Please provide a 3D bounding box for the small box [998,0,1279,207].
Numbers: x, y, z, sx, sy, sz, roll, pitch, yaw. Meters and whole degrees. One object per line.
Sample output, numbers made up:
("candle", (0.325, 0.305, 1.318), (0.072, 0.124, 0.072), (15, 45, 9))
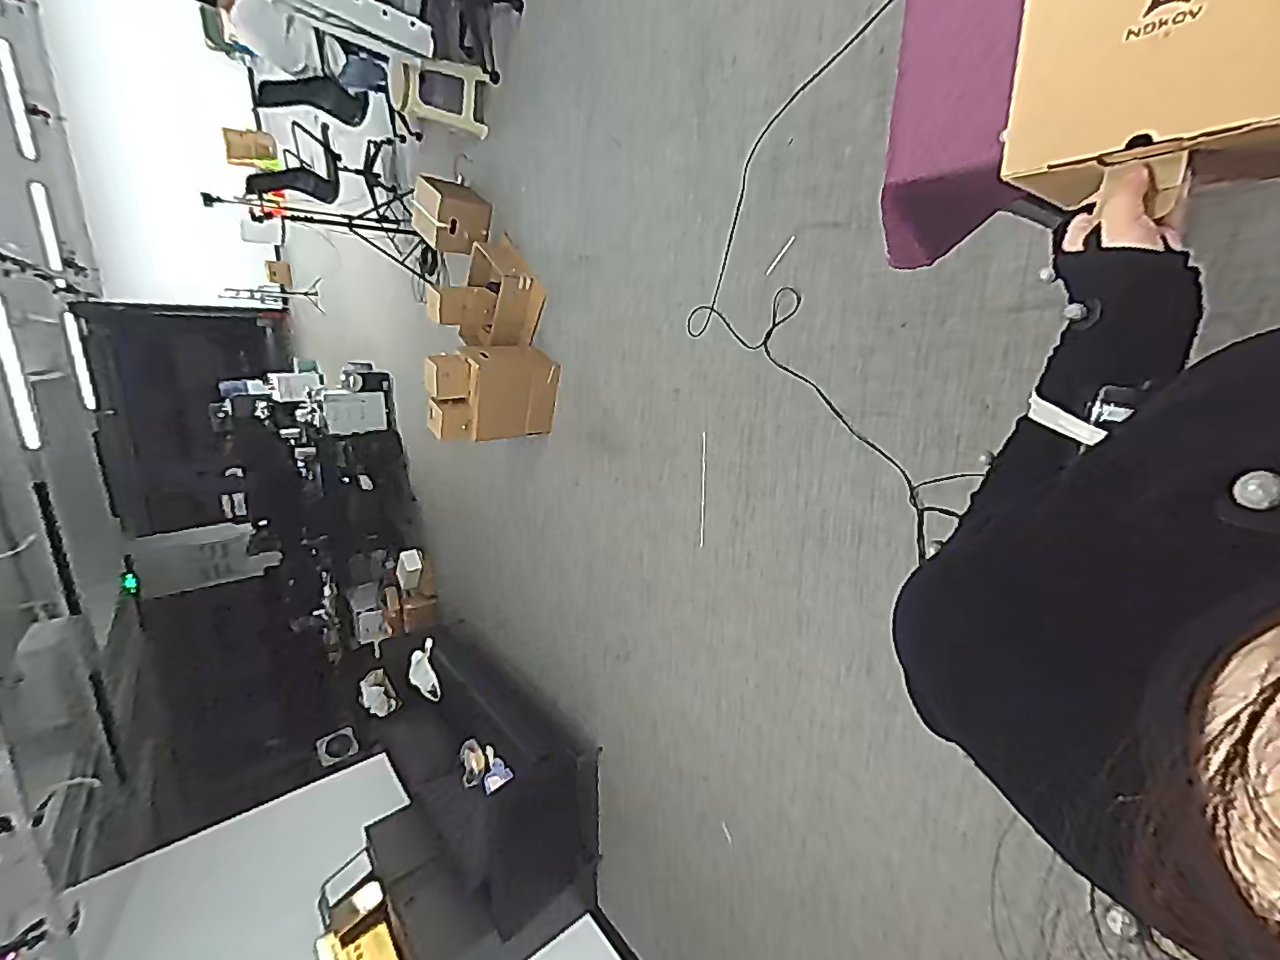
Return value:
("small box", (0.406, -0.326, 0.409), (0.168, 0.176, 0.179), (17, 113, 49))
